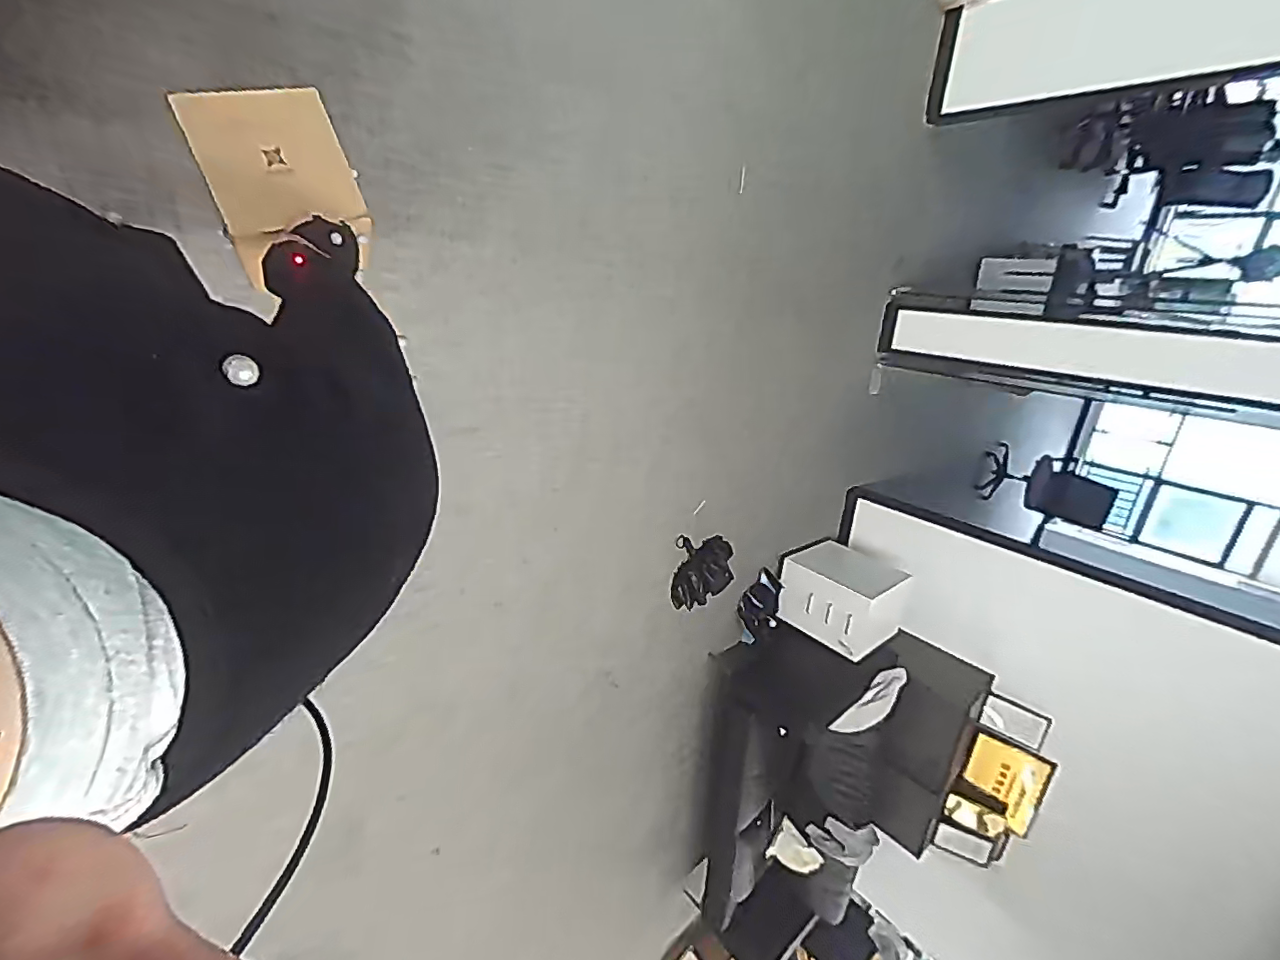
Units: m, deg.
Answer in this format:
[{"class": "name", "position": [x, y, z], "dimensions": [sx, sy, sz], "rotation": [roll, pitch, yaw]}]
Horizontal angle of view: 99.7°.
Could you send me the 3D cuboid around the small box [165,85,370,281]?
[{"class": "small box", "position": [-0.488, -0.391, 0.739], "dimensions": [0.168, 0.176, 0.179], "rotation": [-26, 97, -28]}]
